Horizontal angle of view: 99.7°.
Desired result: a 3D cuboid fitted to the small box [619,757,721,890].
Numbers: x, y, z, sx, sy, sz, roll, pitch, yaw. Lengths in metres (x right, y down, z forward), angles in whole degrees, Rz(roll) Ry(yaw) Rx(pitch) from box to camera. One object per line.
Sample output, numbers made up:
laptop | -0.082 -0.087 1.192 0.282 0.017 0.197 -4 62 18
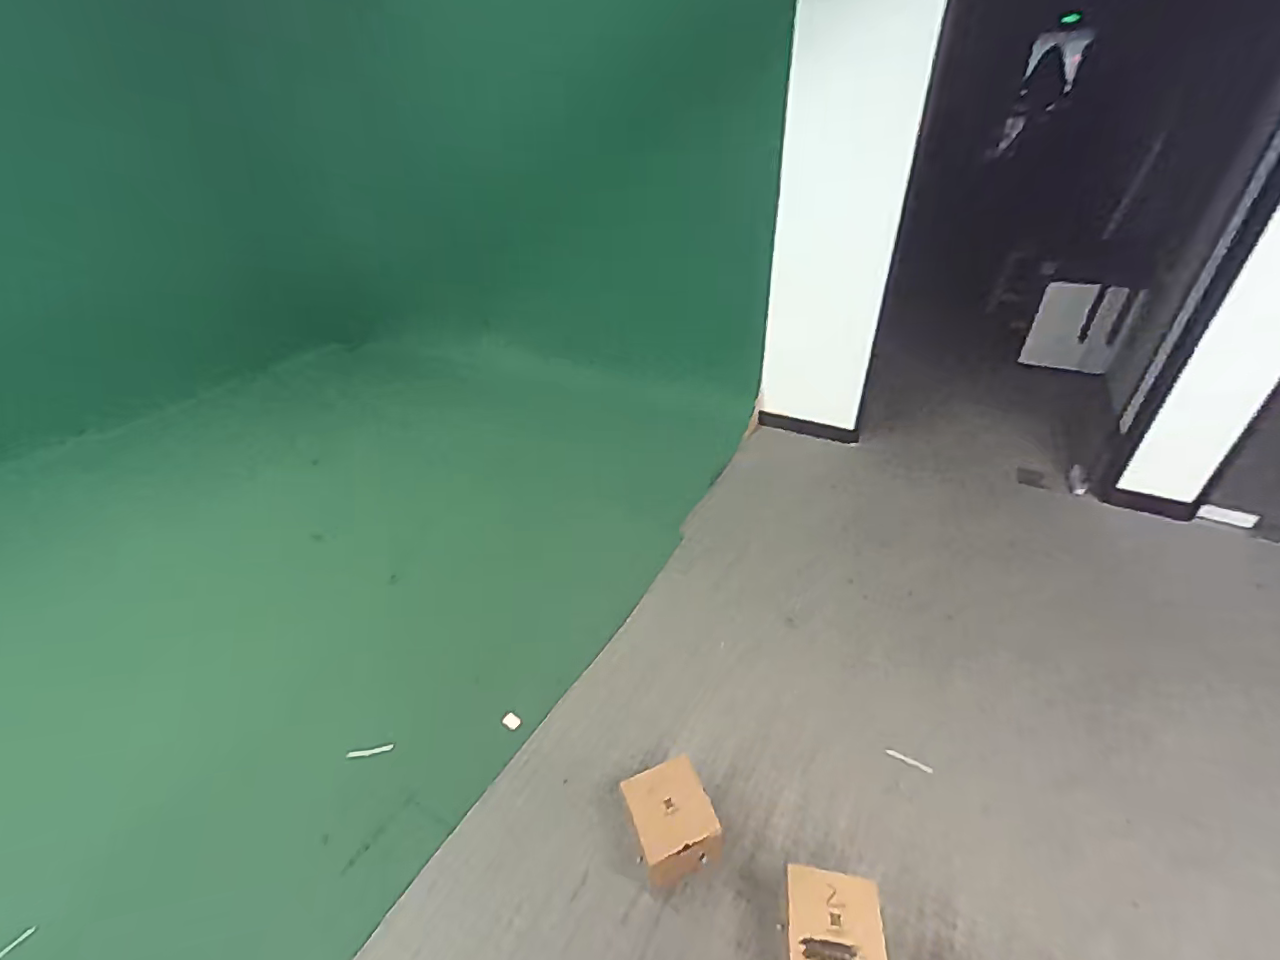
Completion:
small box | 0.064 0.759 1.188 0.168 0.176 0.179 -15 36 -18
